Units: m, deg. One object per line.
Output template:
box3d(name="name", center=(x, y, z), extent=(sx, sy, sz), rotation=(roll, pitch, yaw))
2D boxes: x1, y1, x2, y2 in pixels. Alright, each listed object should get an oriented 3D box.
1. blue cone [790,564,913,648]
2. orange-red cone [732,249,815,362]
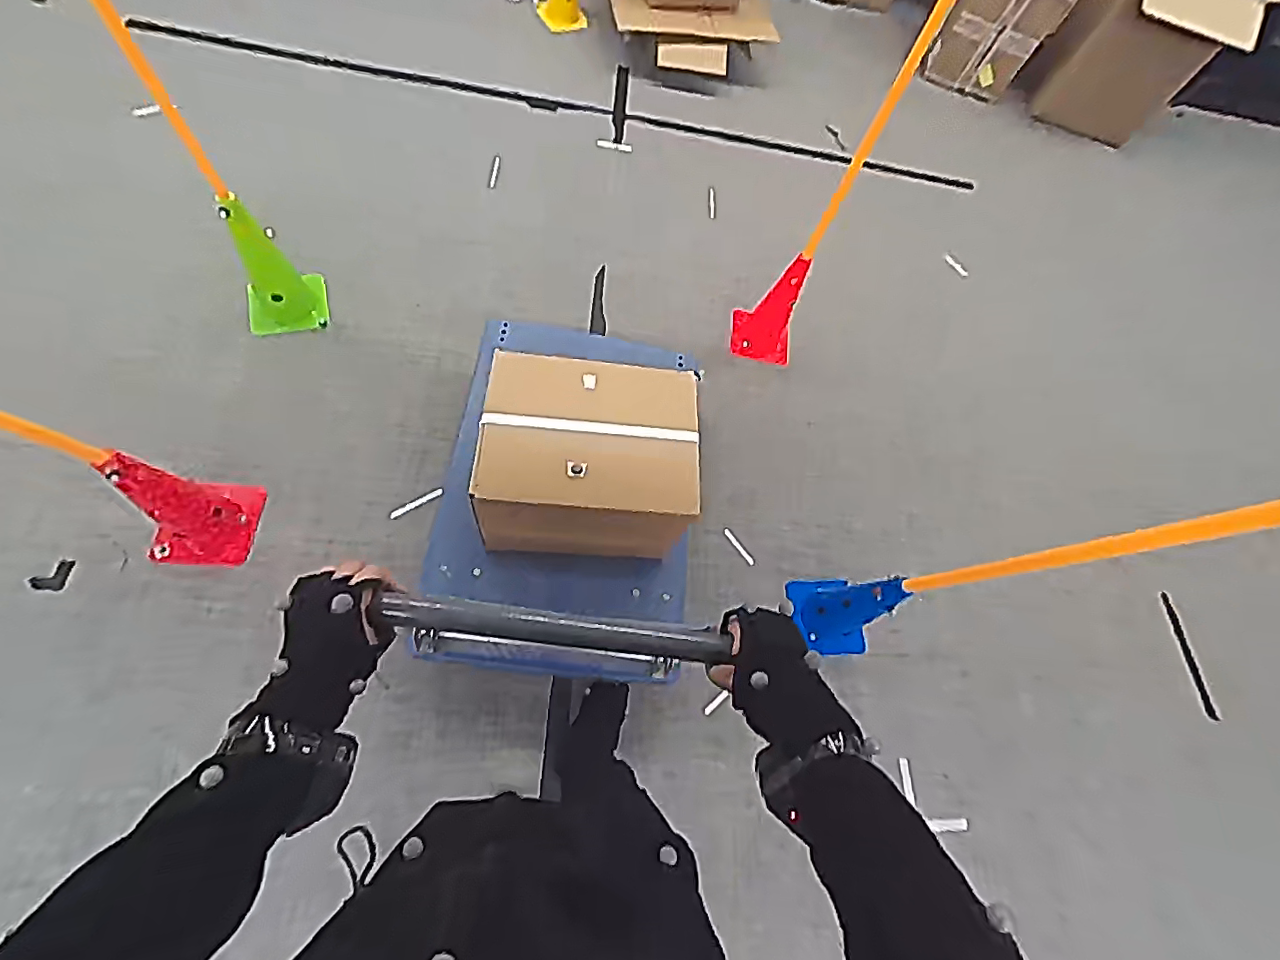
box3d(name="blue cone", center=(0.532, 0.282, 1.305), extent=(0.193, 0.380, 0.192), rotation=(2, 65, -10))
box3d(name="orange-red cone", center=(0.438, -0.556, 1.649), extent=(0.199, 0.360, 0.198), rotation=(12, 65, -7))
